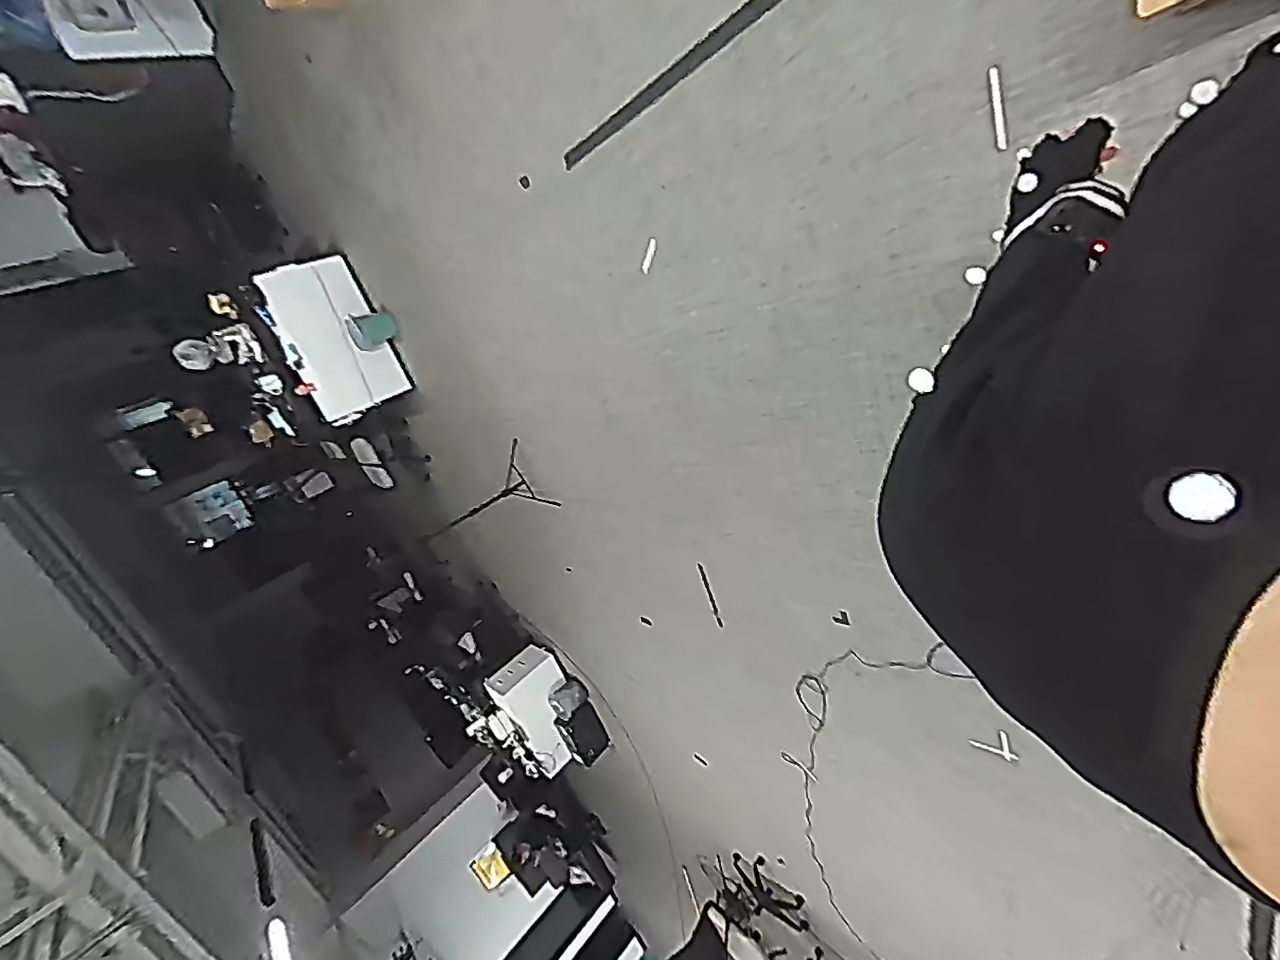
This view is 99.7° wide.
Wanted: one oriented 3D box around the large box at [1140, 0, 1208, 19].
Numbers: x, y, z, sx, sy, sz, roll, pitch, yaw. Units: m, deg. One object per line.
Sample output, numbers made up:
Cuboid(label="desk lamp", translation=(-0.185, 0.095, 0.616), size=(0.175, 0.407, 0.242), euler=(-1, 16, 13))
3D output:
Cuboid(label="large box", translation=(0.851, -0.841, 0.630), size=(0.408, 0.320, 0.320), euler=(-1, 118, 49))
